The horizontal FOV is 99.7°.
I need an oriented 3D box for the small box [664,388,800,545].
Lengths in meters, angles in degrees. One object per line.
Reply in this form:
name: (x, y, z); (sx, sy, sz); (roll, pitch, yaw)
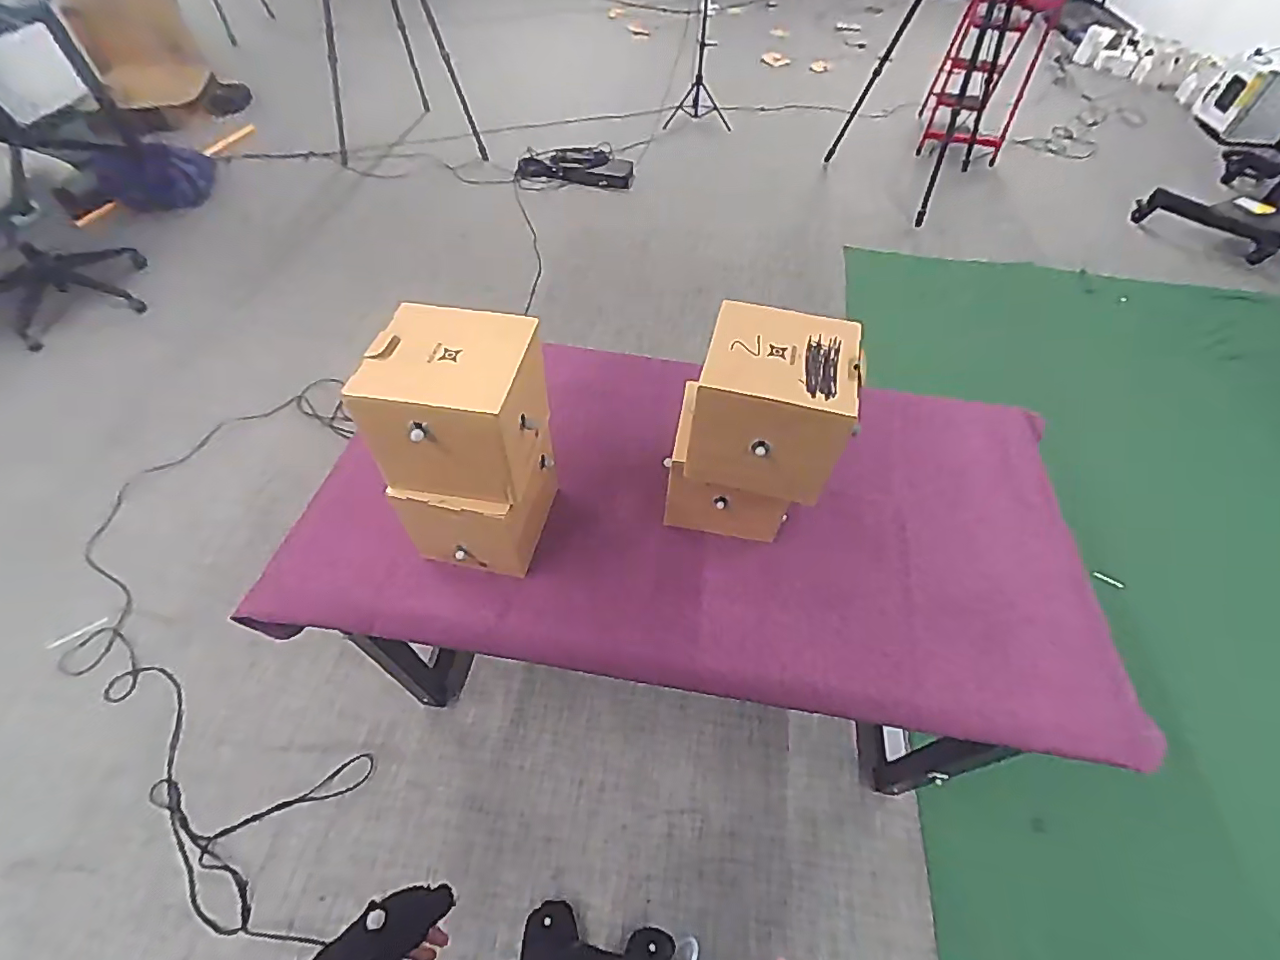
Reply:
small box: (0.140, -0.016, 0.849); (0.179, 0.176, 0.168); (10, 53, 5)

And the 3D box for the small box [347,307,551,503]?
small box: (-0.217, -0.088, 0.679); (0.179, 0.176, 0.168); (8, 53, 3)

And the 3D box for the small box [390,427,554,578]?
small box: (-0.232, 0.018, 0.802); (0.168, 0.176, 0.179); (12, 53, 6)
